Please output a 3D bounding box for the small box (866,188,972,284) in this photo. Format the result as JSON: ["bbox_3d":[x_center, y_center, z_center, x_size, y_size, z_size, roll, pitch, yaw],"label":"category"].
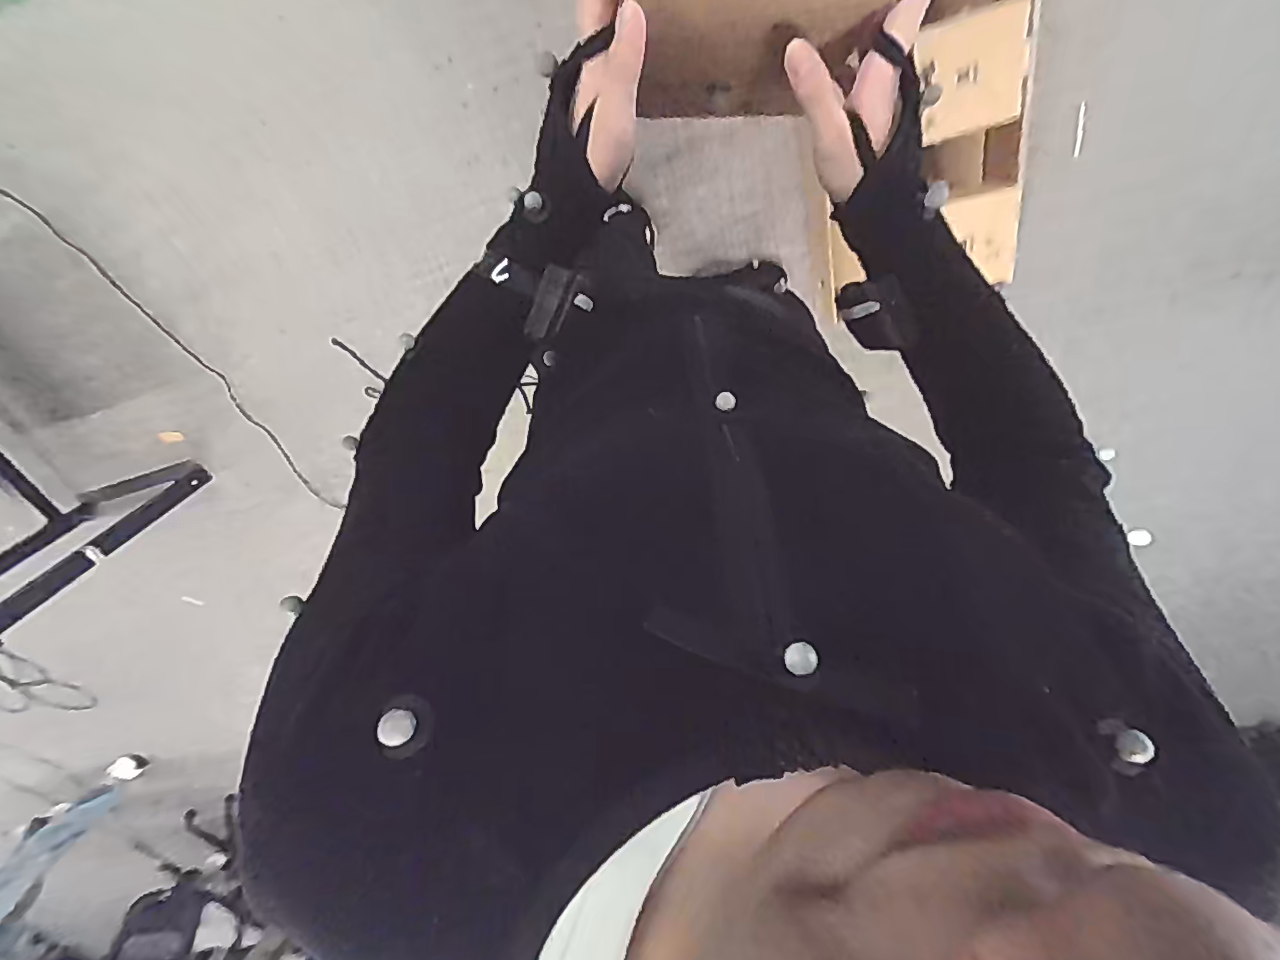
[{"bbox_3d":[0.631,-0.565,1.247,0.179,0.176,0.168,-9,119,9],"label":"small box"}]

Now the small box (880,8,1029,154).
[{"bbox_3d":[0.551,-0.704,0.971,0.179,0.176,0.168,-11,120,10],"label":"small box"}]

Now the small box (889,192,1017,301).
[{"bbox_3d":[0.624,-0.480,1.106,0.179,0.176,0.168,-9,120,9],"label":"small box"}]

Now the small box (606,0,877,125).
[{"bbox_3d":[0.059,-0.386,0.382,0.168,0.176,0.179,-2,101,-2],"label":"small box"}]
